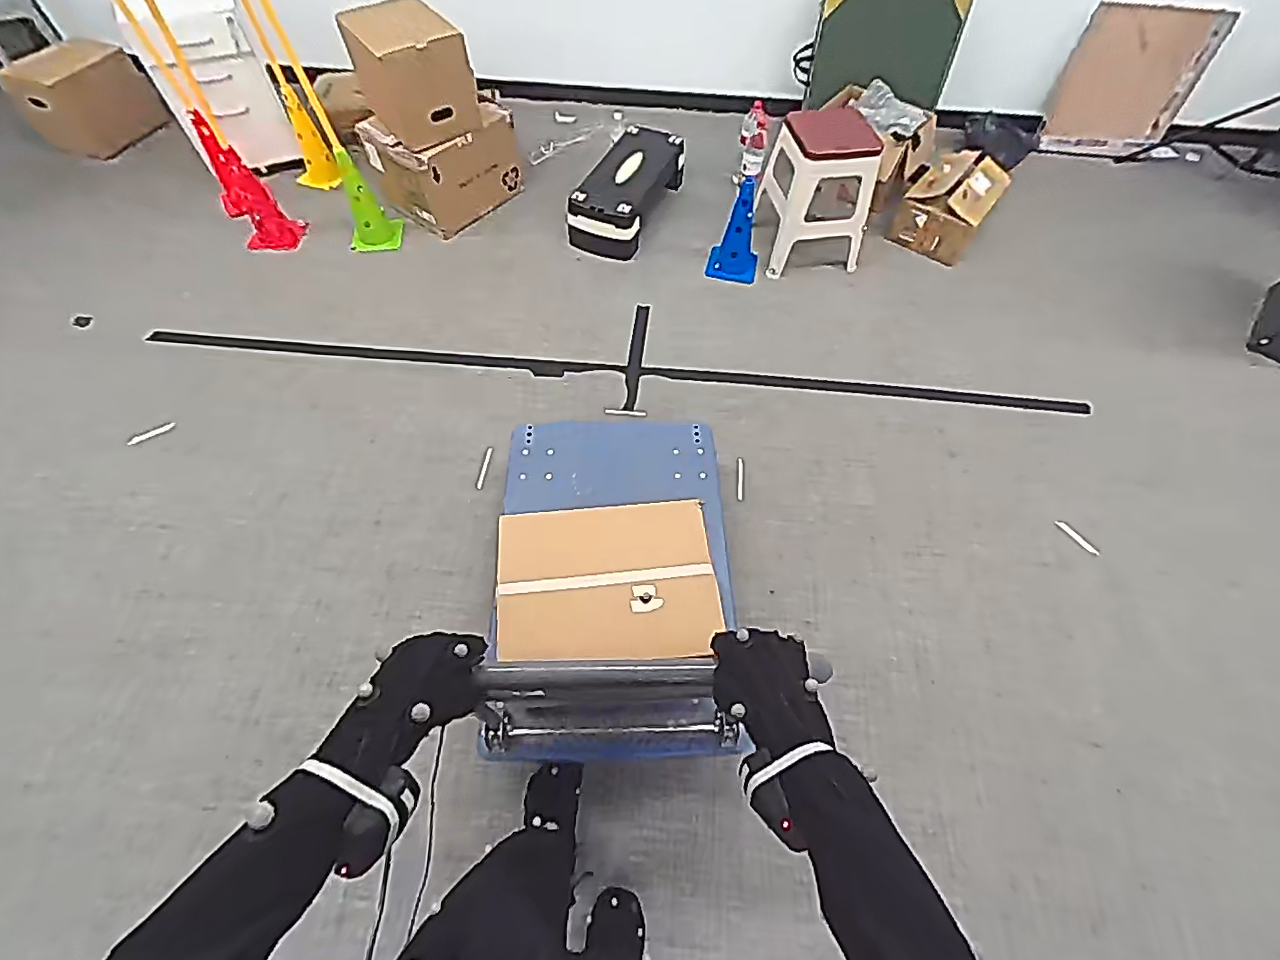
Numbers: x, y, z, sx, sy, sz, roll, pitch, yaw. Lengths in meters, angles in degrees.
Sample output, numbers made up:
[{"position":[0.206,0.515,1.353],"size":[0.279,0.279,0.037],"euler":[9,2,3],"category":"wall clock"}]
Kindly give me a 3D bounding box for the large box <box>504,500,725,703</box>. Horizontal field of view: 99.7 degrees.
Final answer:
[{"position":[-0.067,0.266,1.156],"size":[0.408,0.320,0.320],"euler":[-4,59,-6],"category":"large box"}]
